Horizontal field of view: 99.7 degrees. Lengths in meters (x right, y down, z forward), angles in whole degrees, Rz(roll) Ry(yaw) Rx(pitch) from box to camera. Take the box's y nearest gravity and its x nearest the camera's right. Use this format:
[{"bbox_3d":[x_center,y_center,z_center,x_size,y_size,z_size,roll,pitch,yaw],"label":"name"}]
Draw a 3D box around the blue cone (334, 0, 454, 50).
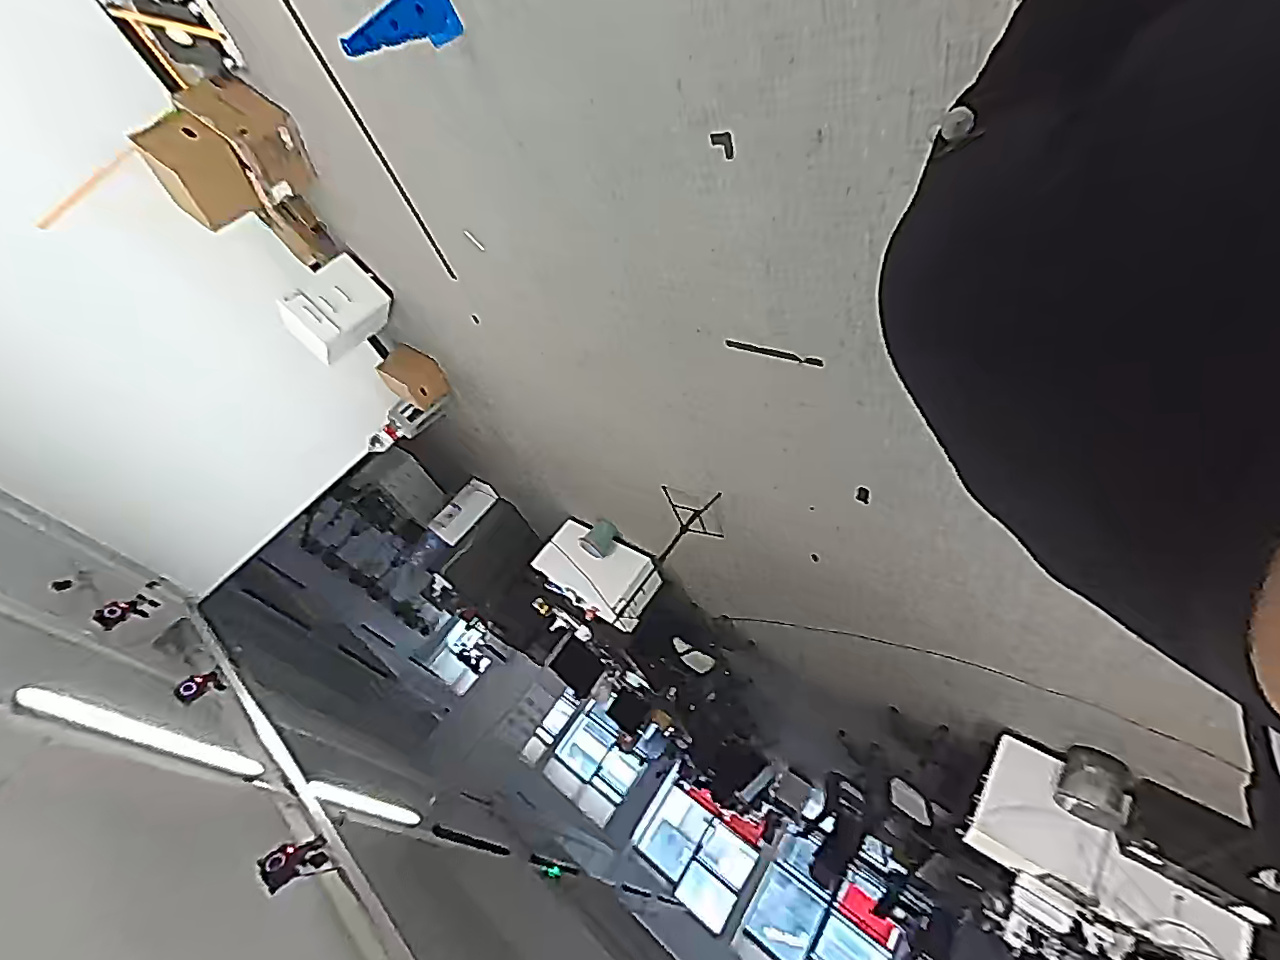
[{"bbox_3d":[-0.796,-1.445,1.710,0.193,0.380,0.192,19,150,40],"label":"blue cone"}]
